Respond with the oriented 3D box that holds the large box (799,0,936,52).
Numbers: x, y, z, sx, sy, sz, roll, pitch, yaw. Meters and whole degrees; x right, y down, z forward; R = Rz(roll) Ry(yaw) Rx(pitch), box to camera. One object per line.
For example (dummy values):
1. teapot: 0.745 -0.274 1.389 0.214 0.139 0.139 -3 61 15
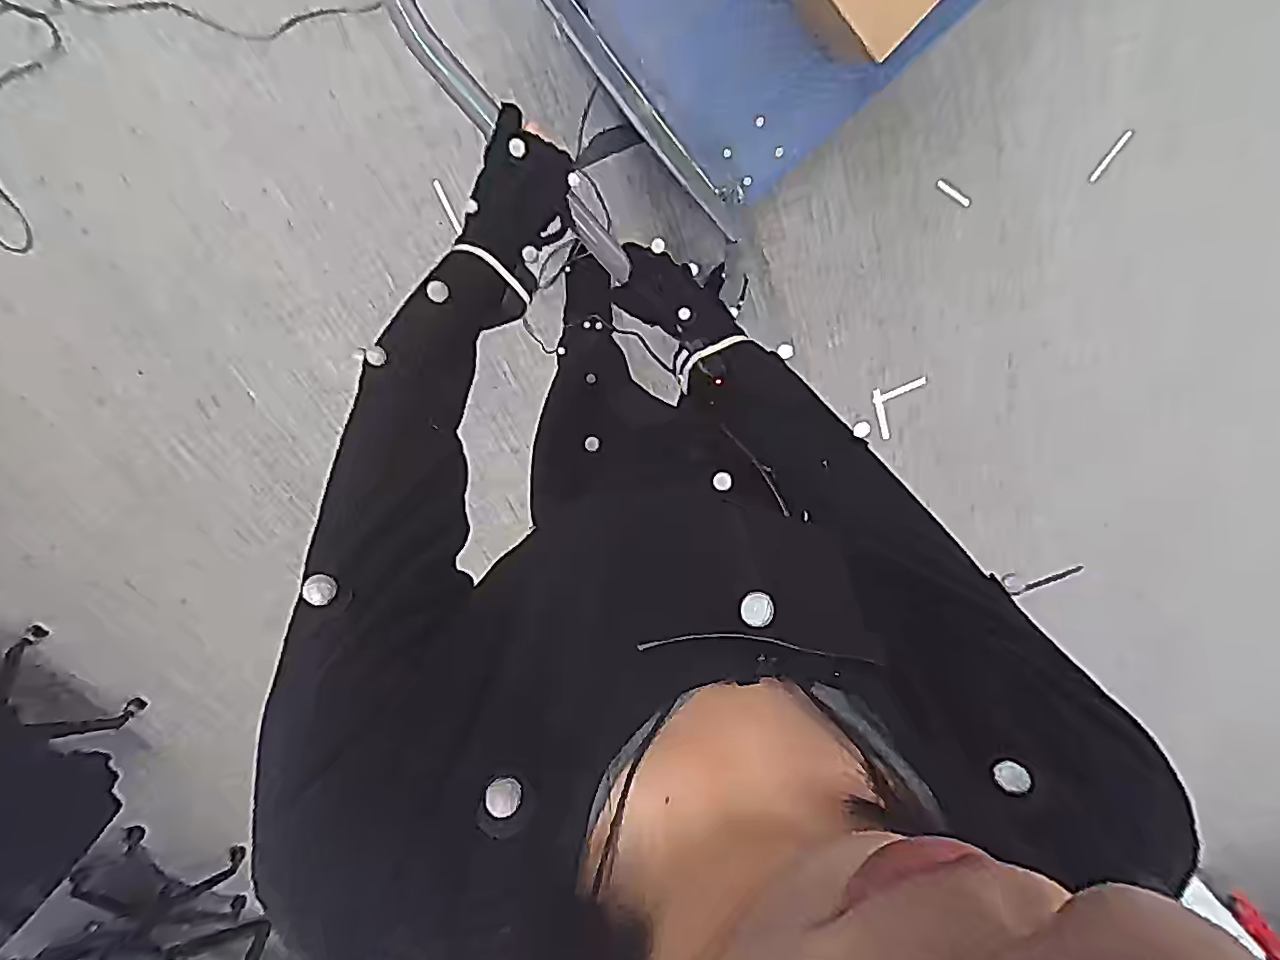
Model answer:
1. large box: 0.306 -0.892 0.740 0.408 0.320 0.320 35 125 -21
